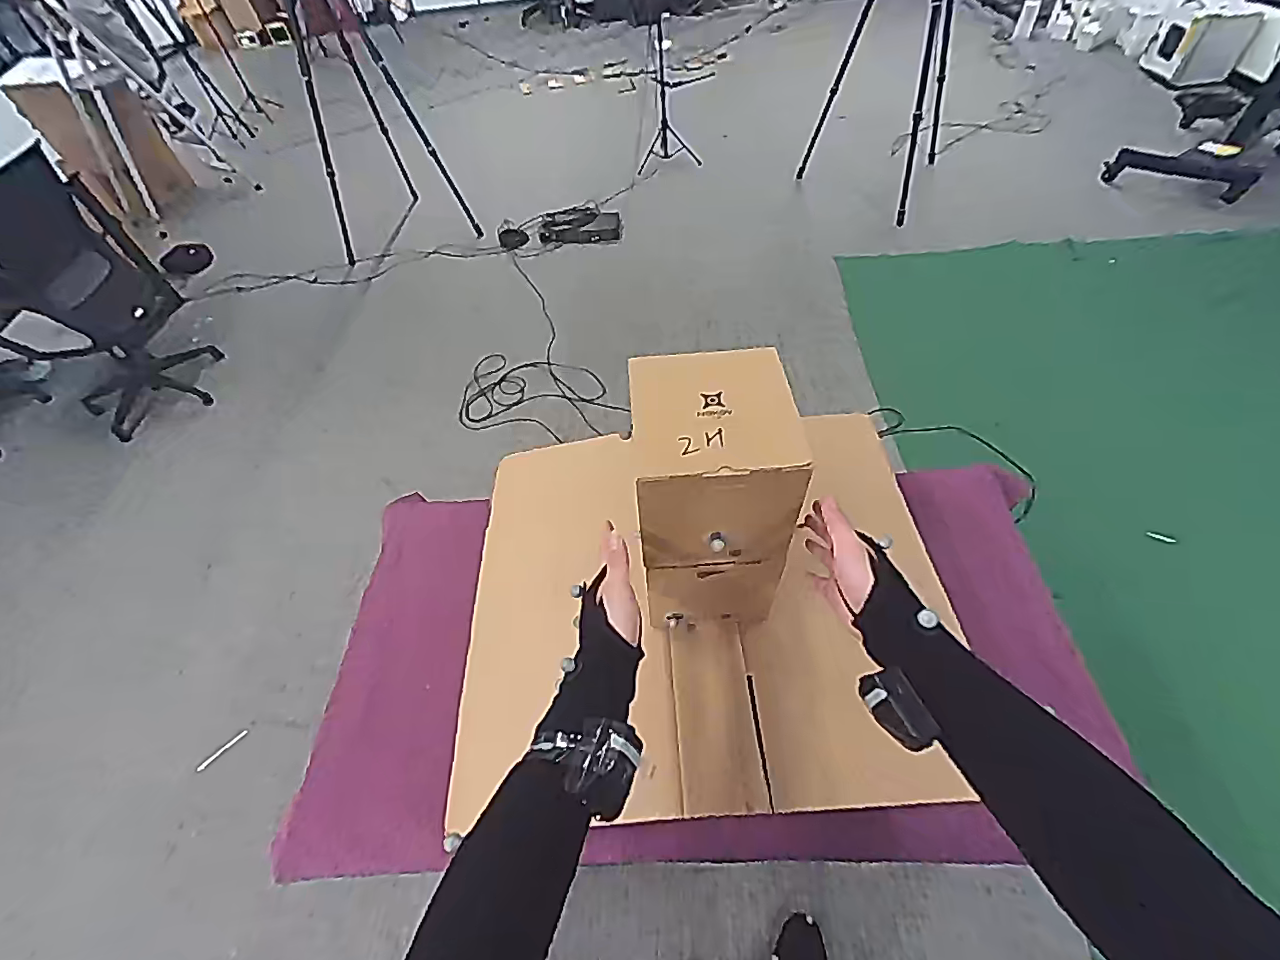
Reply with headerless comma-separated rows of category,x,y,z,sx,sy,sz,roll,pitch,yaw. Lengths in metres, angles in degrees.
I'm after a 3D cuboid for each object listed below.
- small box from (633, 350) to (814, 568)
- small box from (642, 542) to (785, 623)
small box,0.078,-0.021,0.604,0.168,0.176,0.179,-4,52,1
small box,0.088,0.083,0.731,0.168,0.176,0.179,-4,51,0
